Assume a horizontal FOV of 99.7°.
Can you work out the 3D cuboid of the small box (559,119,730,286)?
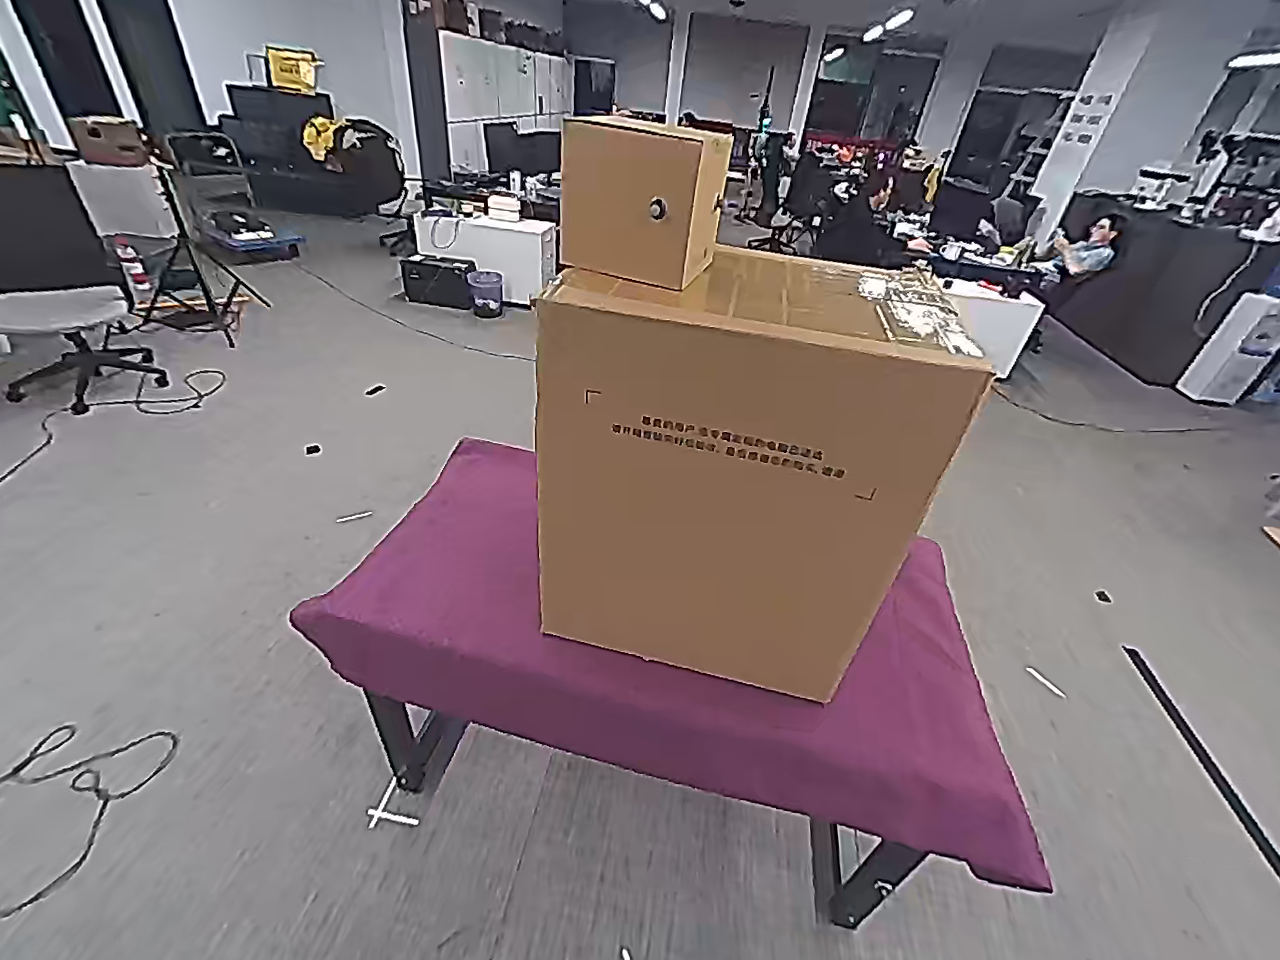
[{"bbox_3d":[0.005,-0.369,0.721,0.179,0.176,0.168,16,36,12],"label":"small box"}]
